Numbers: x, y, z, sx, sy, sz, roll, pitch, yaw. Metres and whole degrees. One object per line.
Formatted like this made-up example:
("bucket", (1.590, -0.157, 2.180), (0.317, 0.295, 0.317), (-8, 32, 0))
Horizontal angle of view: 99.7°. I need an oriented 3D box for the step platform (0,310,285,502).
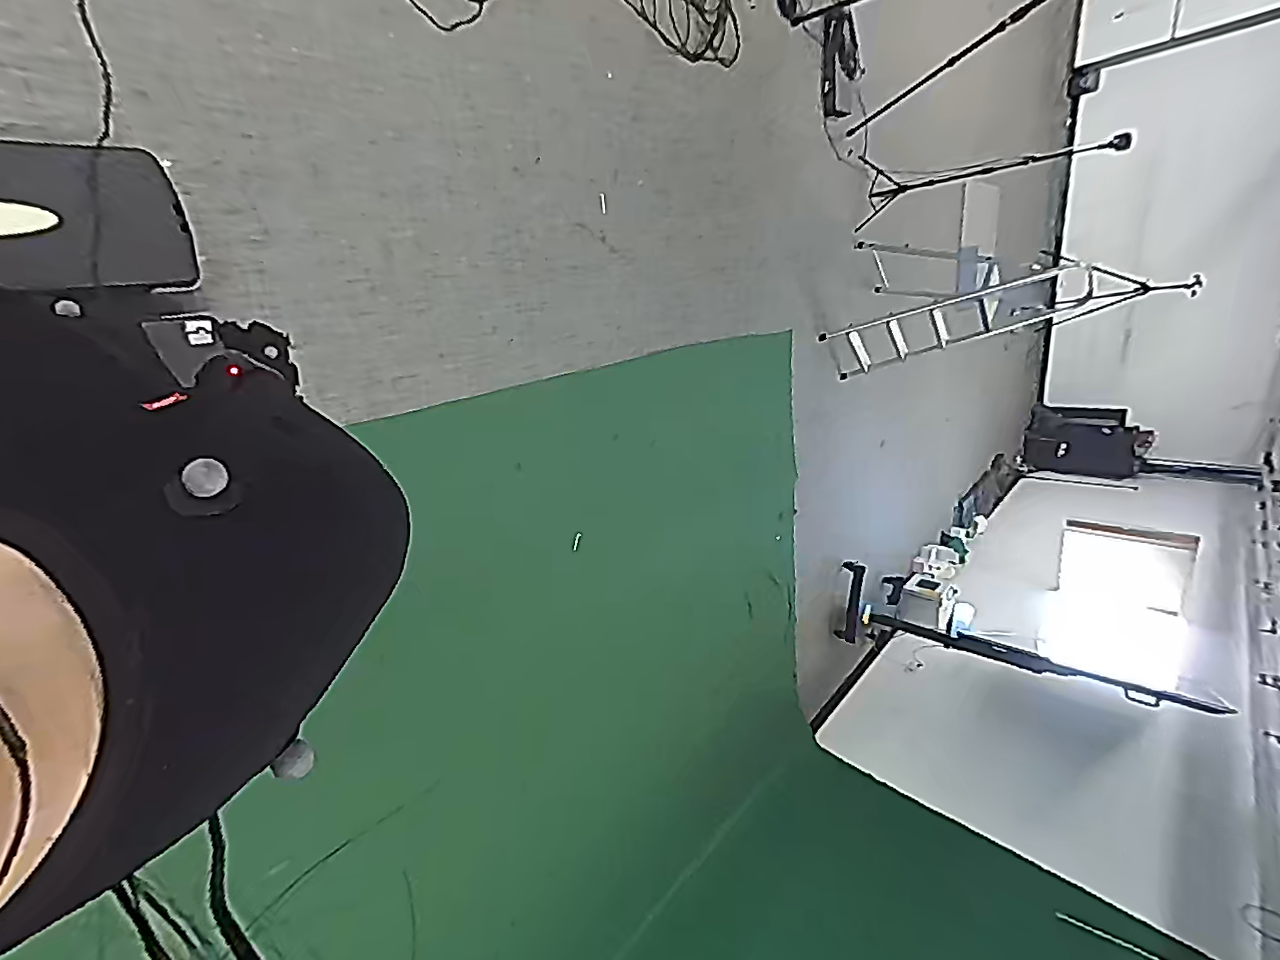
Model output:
("step platform", (-1.055, -0.116, 0.953), (0.684, 0.204, 0.286), (-24, 115, -41))
